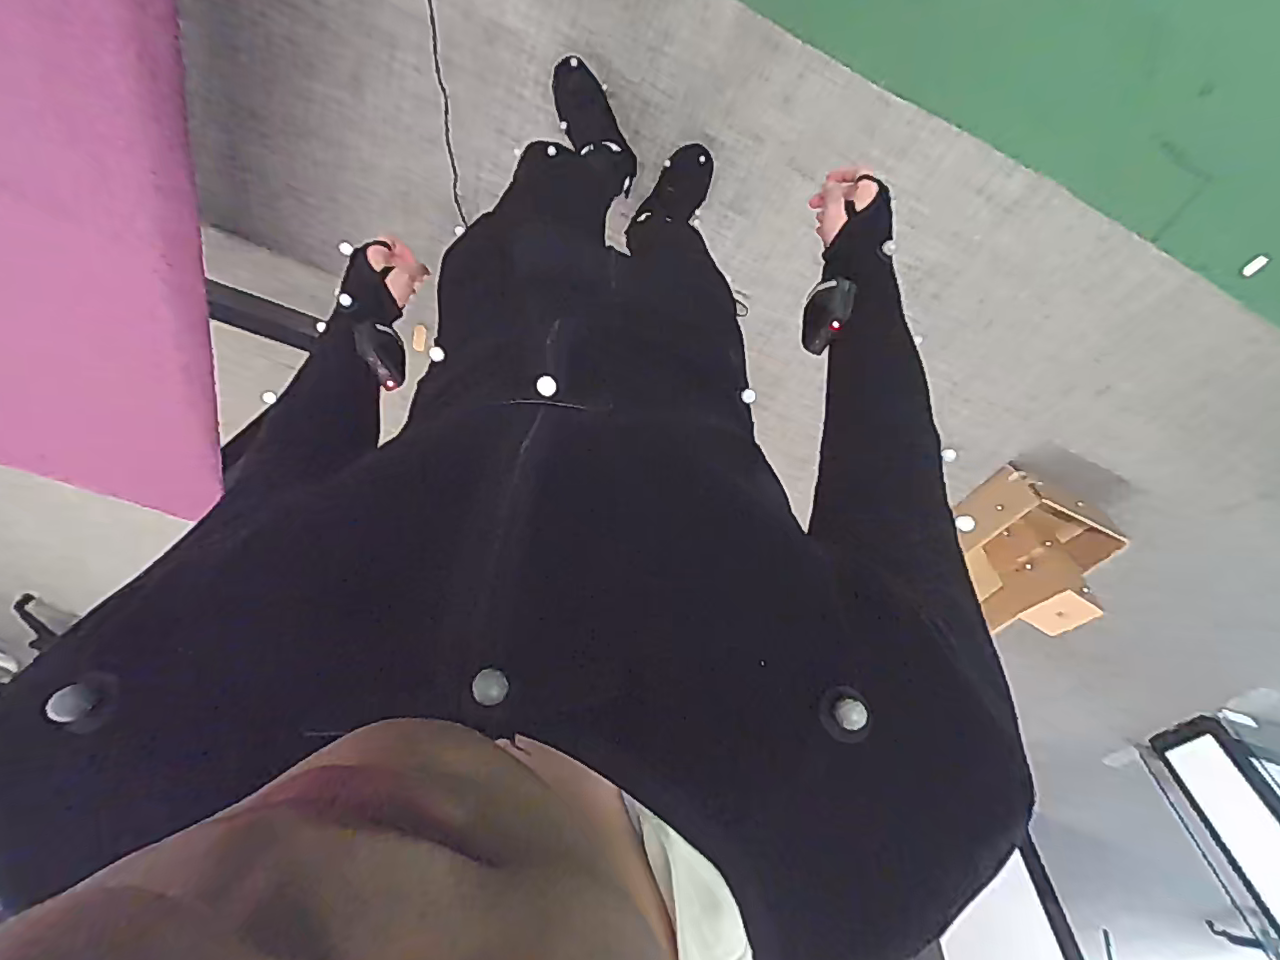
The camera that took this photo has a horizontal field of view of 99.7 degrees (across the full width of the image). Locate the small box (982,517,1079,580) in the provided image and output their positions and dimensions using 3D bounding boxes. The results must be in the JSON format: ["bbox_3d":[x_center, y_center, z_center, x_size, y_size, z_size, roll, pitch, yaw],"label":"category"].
[{"bbox_3d":[1.297,0.252,1.809,0.179,0.176,0.168,26,129,-13],"label":"small box"}]

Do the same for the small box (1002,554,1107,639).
[{"bbox_3d":[1.285,0.360,1.687,0.179,0.176,0.168,29,128,-16],"label":"small box"}]
